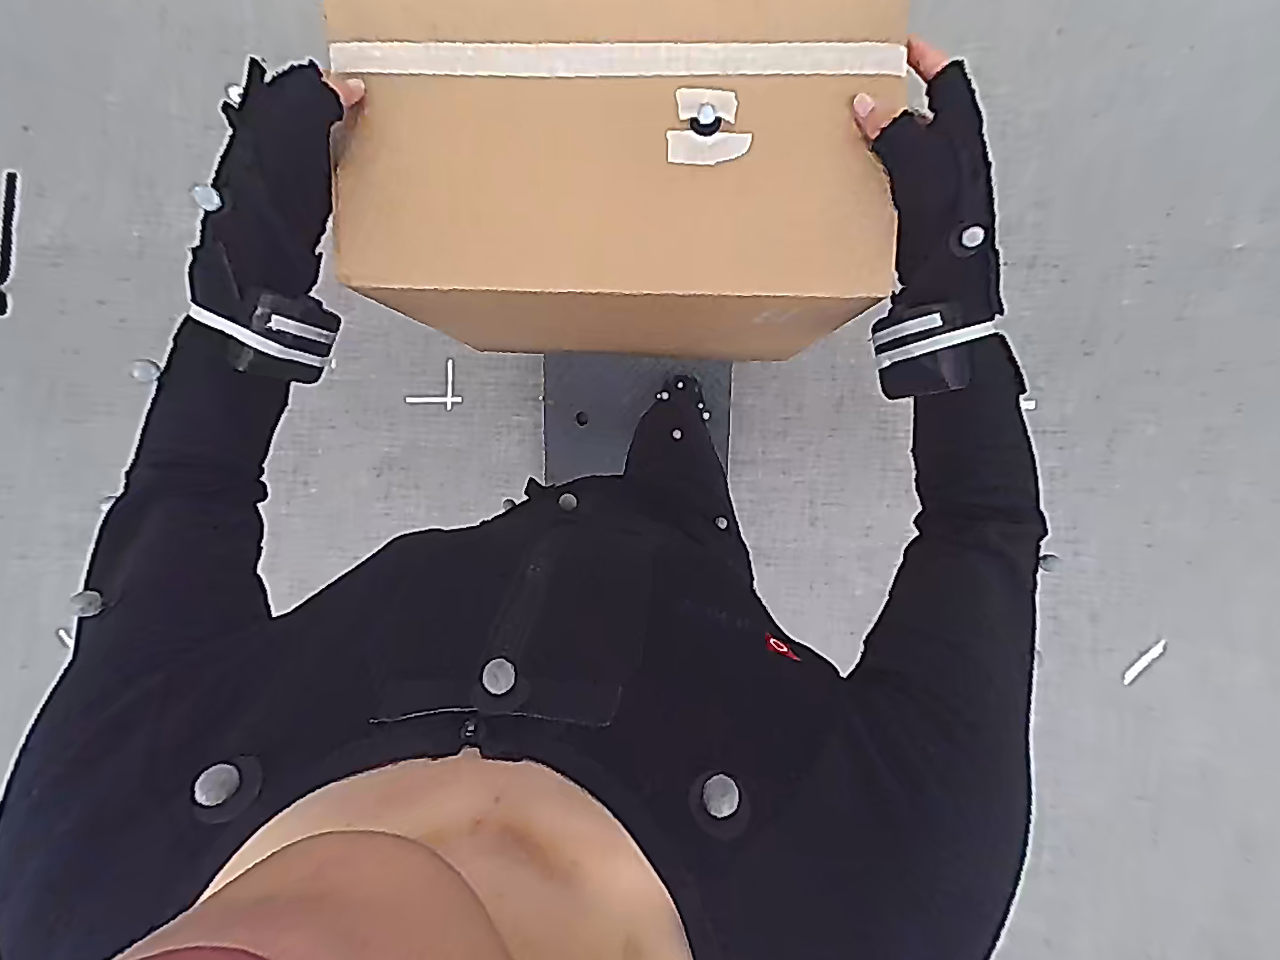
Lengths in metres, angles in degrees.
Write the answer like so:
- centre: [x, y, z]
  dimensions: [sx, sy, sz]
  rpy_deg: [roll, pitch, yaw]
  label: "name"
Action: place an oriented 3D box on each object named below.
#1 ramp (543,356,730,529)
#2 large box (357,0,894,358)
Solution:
- centre: [-0.007, -0.360, 1.406]
  dimensions: [0.509, 0.206, 0.991]
  rpy_deg: [-1, 89, -1]
  label: "ramp"
- centre: [-0.012, -0.306, 0.552]
  dimensions: [0.408, 0.320, 0.320]
  rpy_deg: [2, 94, 1]
  label: "large box"
